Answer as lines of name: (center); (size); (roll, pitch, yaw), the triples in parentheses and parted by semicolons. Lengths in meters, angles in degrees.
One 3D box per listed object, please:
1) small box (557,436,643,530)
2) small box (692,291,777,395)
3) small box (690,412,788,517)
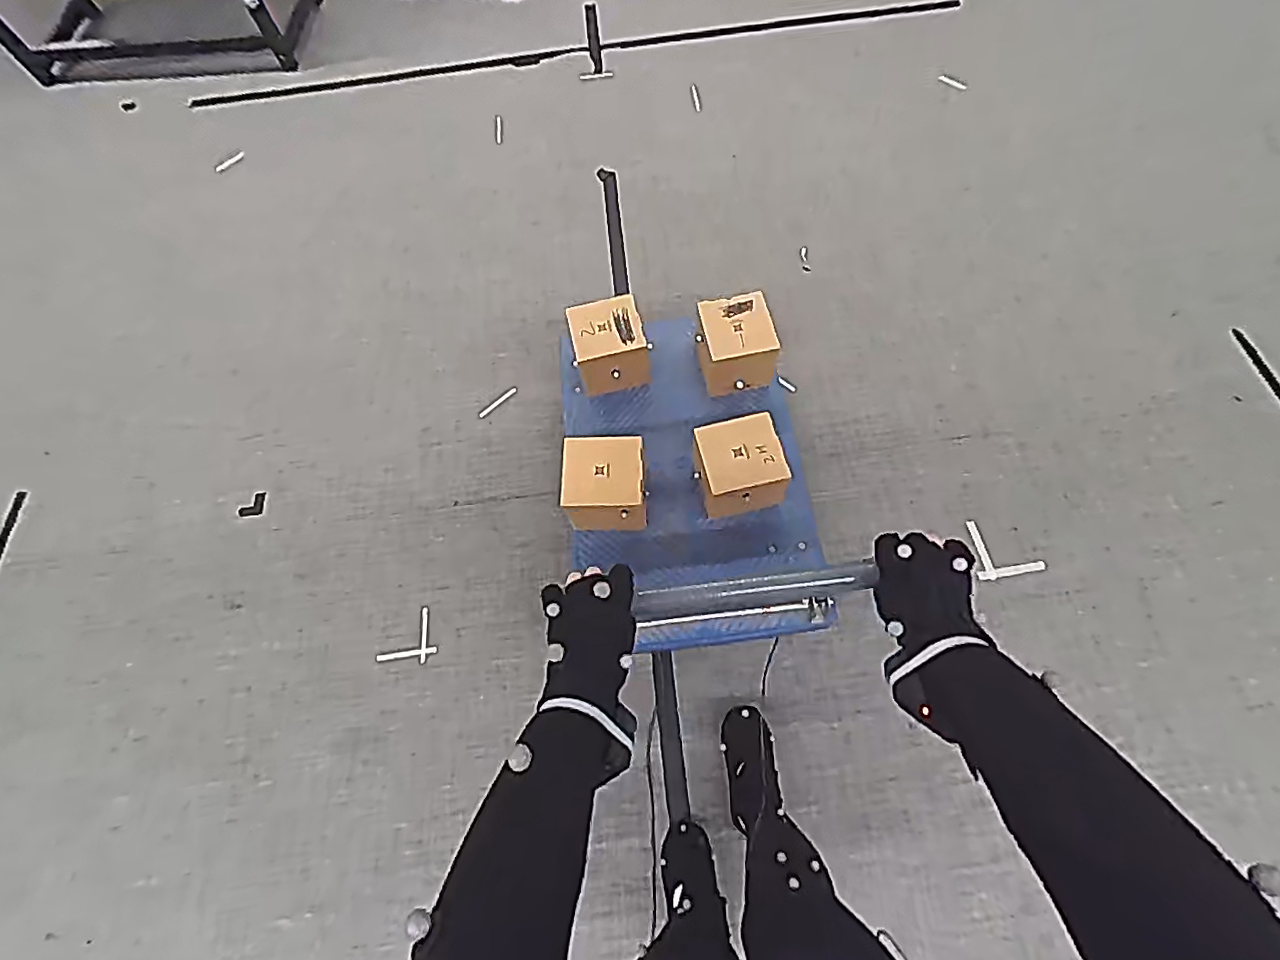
small box: (-0.084, 0.012, 1.238); (0.179, 0.176, 0.168); (-1, 67, 2)
small box: (0.229, -0.341, 1.362); (0.168, 0.176, 0.179); (-11, 68, -1)
small box: (0.218, -0.029, 1.234); (0.179, 0.176, 0.168); (-13, 68, -1)
